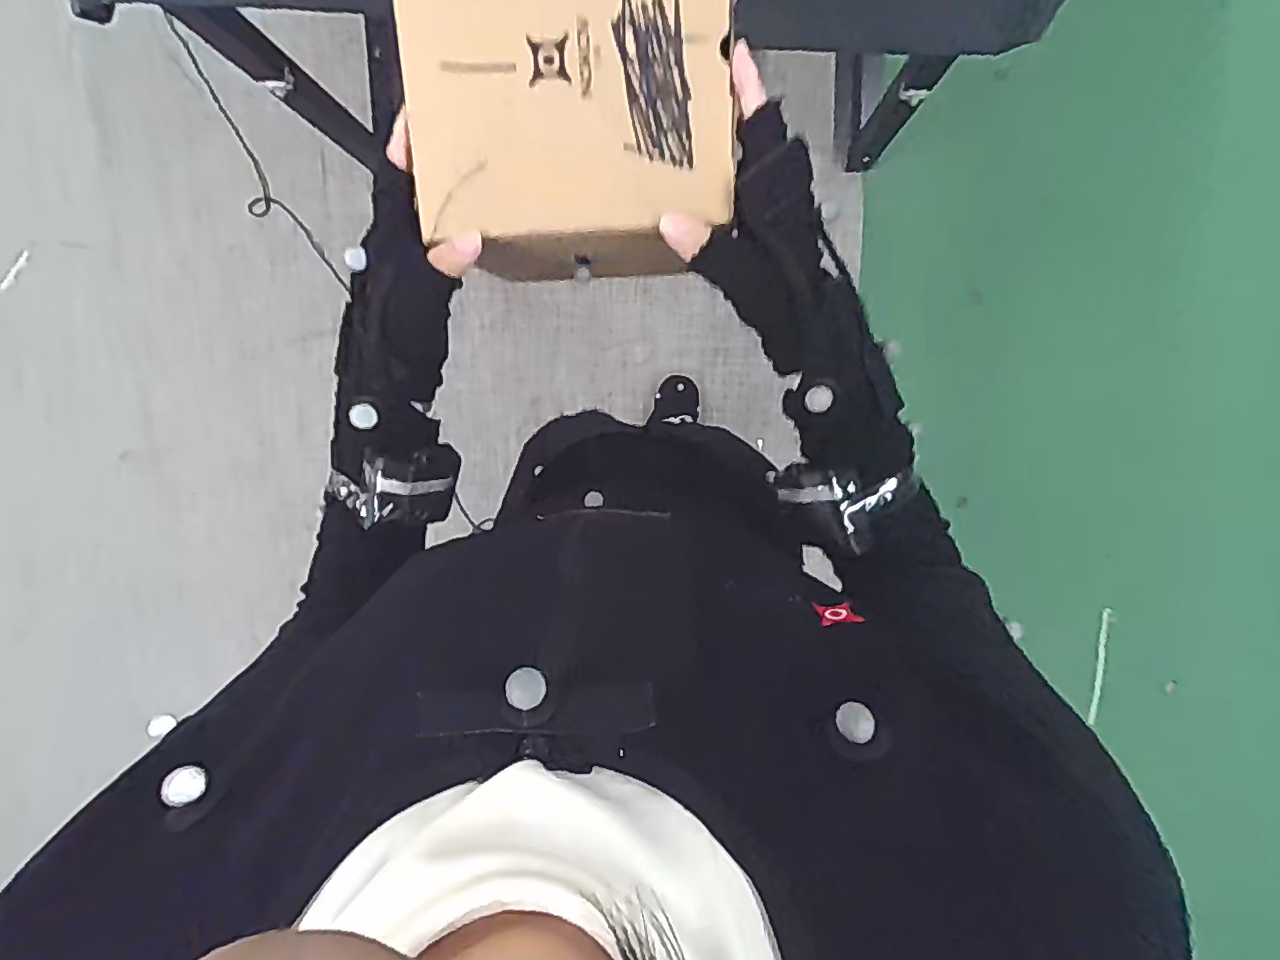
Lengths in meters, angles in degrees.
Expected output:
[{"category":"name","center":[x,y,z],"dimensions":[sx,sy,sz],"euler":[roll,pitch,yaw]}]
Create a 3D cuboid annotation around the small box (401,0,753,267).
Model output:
[{"category":"small box","center":[-0.032,-0.245,0.355],"dimensions":[0.179,0.176,0.168],"euler":[-6,103,3]}]
